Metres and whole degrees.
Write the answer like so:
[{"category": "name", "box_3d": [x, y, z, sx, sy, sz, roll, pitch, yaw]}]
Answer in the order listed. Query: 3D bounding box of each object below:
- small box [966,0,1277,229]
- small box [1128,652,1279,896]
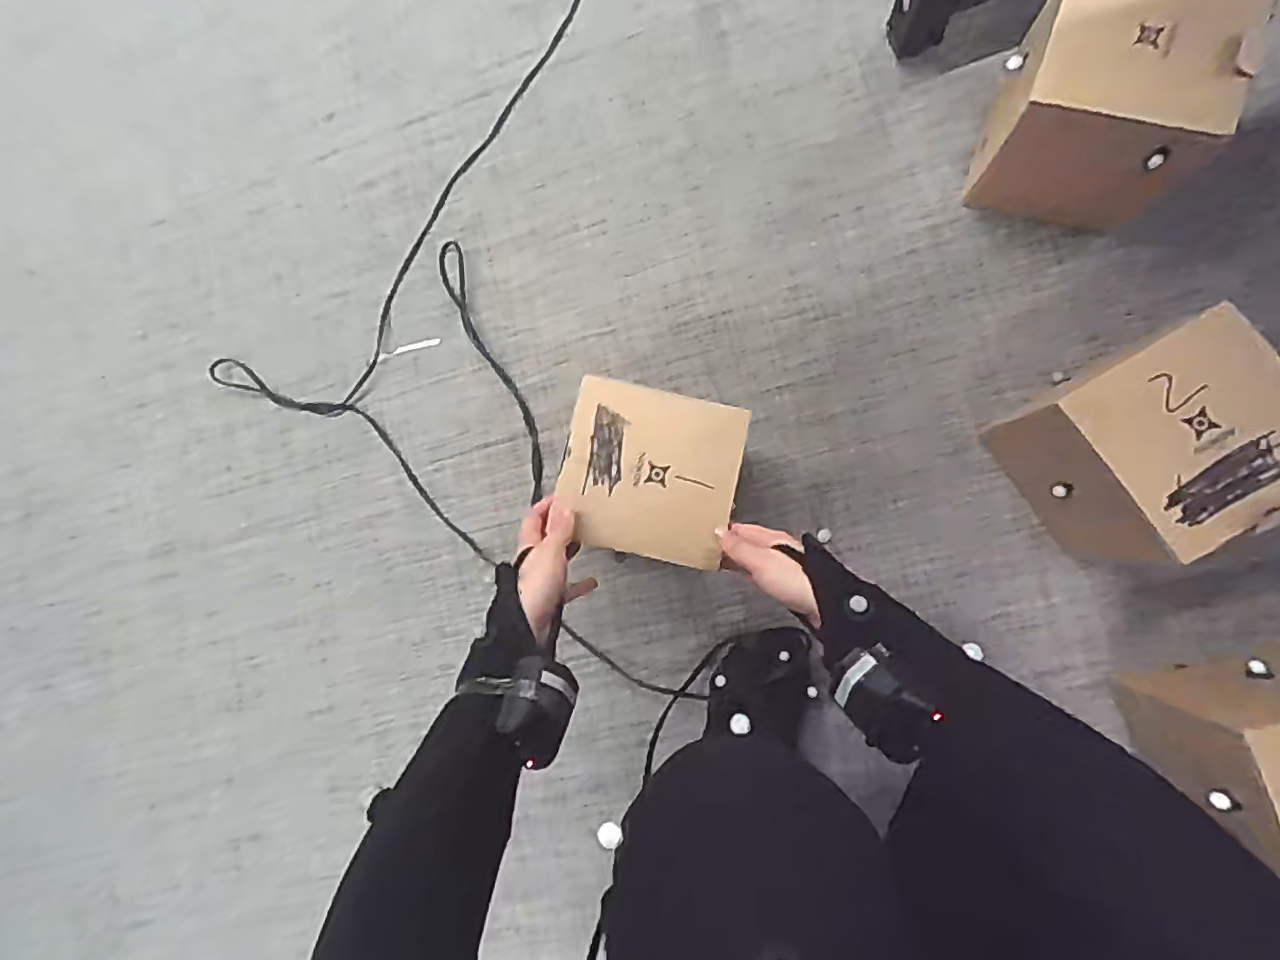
[{"category": "small box", "box_3d": [0.489, -0.399, 0.579, 0.179, 0.176, 0.168, 18, 88, 10]}, {"category": "small box", "box_3d": [0.612, 0.270, 0.496, 0.168, 0.176, 0.179, -17, 83, 9]}]
